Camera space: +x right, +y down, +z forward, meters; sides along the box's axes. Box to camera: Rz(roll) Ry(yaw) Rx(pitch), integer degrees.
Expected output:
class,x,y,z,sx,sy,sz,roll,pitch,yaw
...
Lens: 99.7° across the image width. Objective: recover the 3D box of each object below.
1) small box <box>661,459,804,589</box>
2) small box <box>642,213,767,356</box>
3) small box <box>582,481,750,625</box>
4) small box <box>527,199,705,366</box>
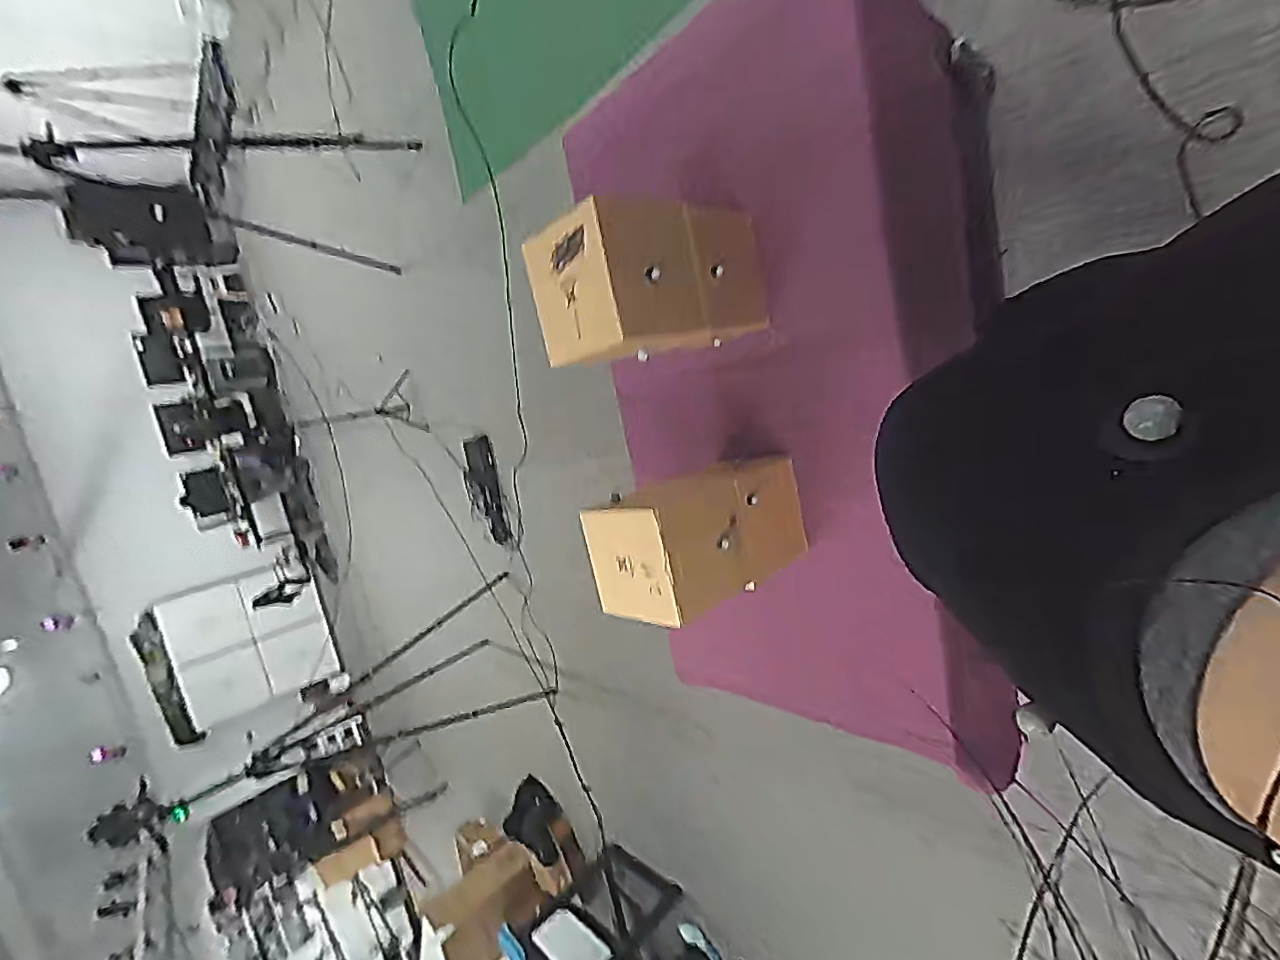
class,x,y,z,sx,sy,sz,roll,pitch,yaw
small box,0.163,0.070,0.936,0.168,0.176,0.179,-6,99,48
small box,0.087,-0.310,0.878,0.168,0.176,0.179,-3,101,47
small box,0.041,0.102,0.829,0.179,0.176,0.168,-5,100,48
small box,-0.031,-0.270,0.771,0.168,0.176,0.179,-4,101,47
